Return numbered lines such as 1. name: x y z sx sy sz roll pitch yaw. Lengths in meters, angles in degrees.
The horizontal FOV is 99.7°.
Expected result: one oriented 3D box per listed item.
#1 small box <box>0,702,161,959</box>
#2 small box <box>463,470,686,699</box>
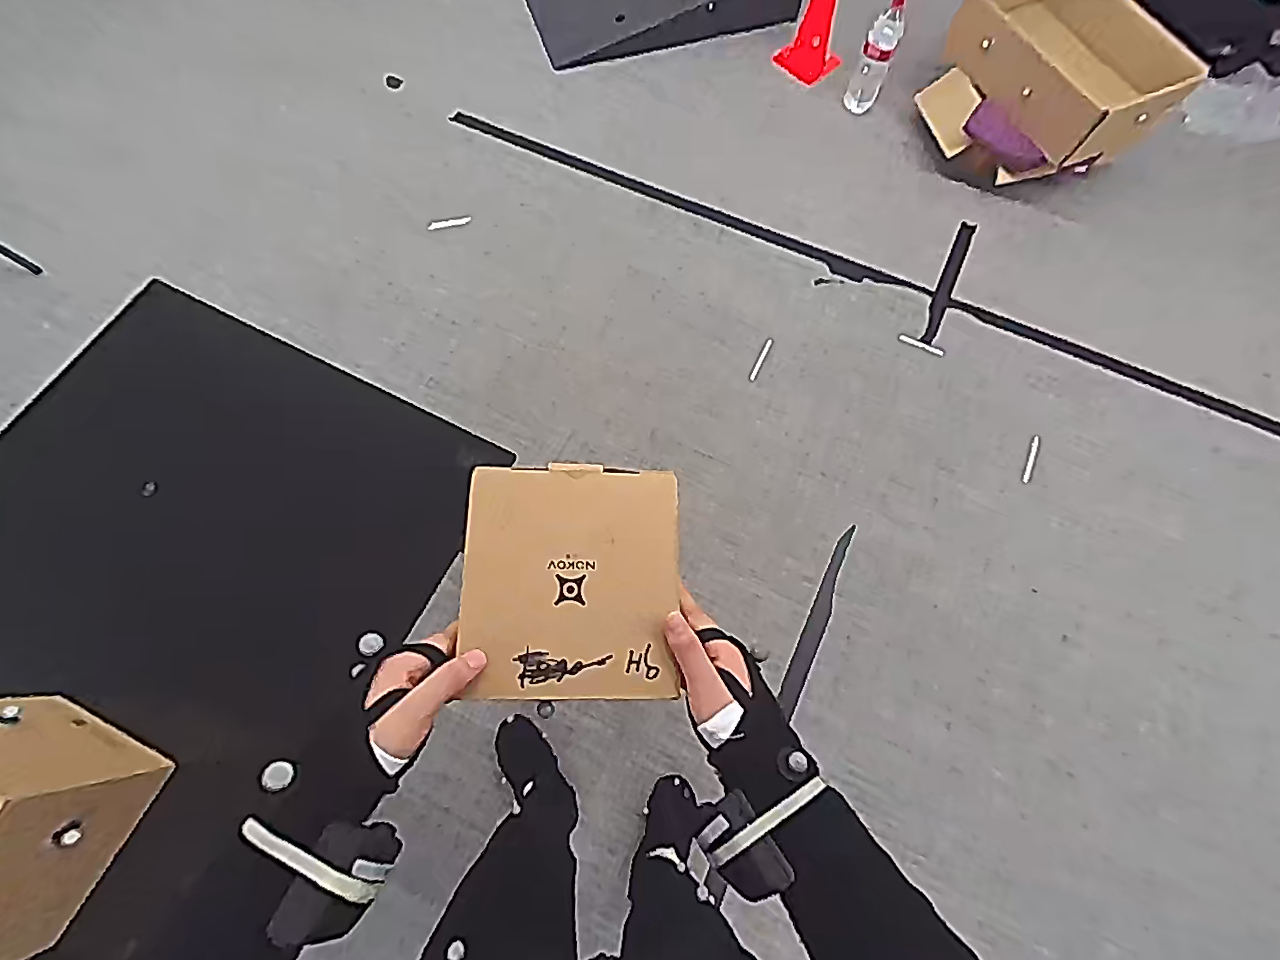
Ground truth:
1. small box: -0.596 0.317 0.484 0.168 0.176 0.179 23 73 8
2. small box: -0.051 0.100 0.493 0.168 0.176 0.179 1 73 -3
